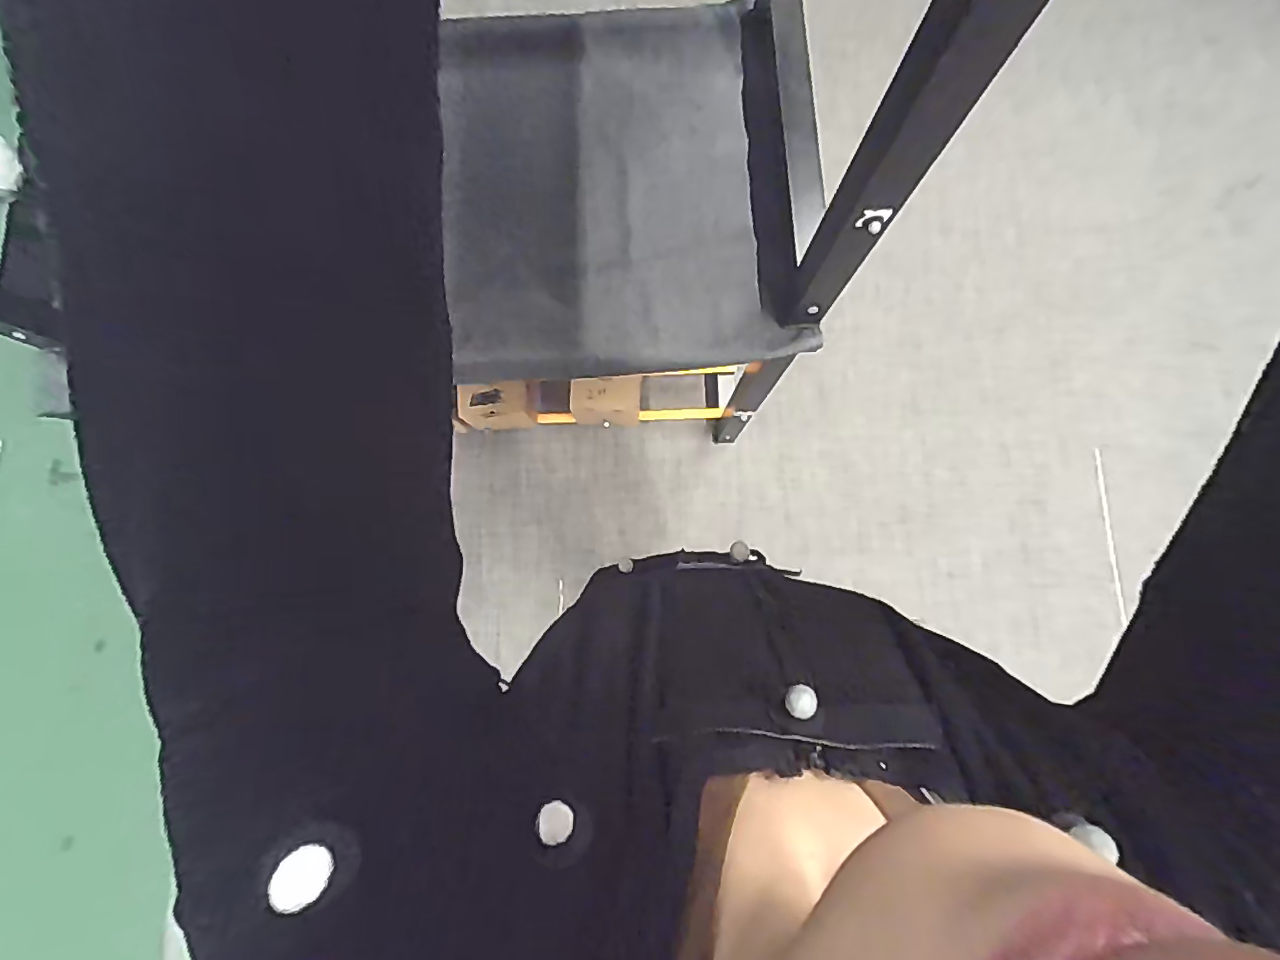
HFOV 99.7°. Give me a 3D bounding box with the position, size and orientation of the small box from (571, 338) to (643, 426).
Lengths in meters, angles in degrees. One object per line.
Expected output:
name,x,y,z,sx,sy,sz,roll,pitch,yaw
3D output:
small box,-0.080,-0.247,1.392,0.168,0.176,0.179,3,83,2
